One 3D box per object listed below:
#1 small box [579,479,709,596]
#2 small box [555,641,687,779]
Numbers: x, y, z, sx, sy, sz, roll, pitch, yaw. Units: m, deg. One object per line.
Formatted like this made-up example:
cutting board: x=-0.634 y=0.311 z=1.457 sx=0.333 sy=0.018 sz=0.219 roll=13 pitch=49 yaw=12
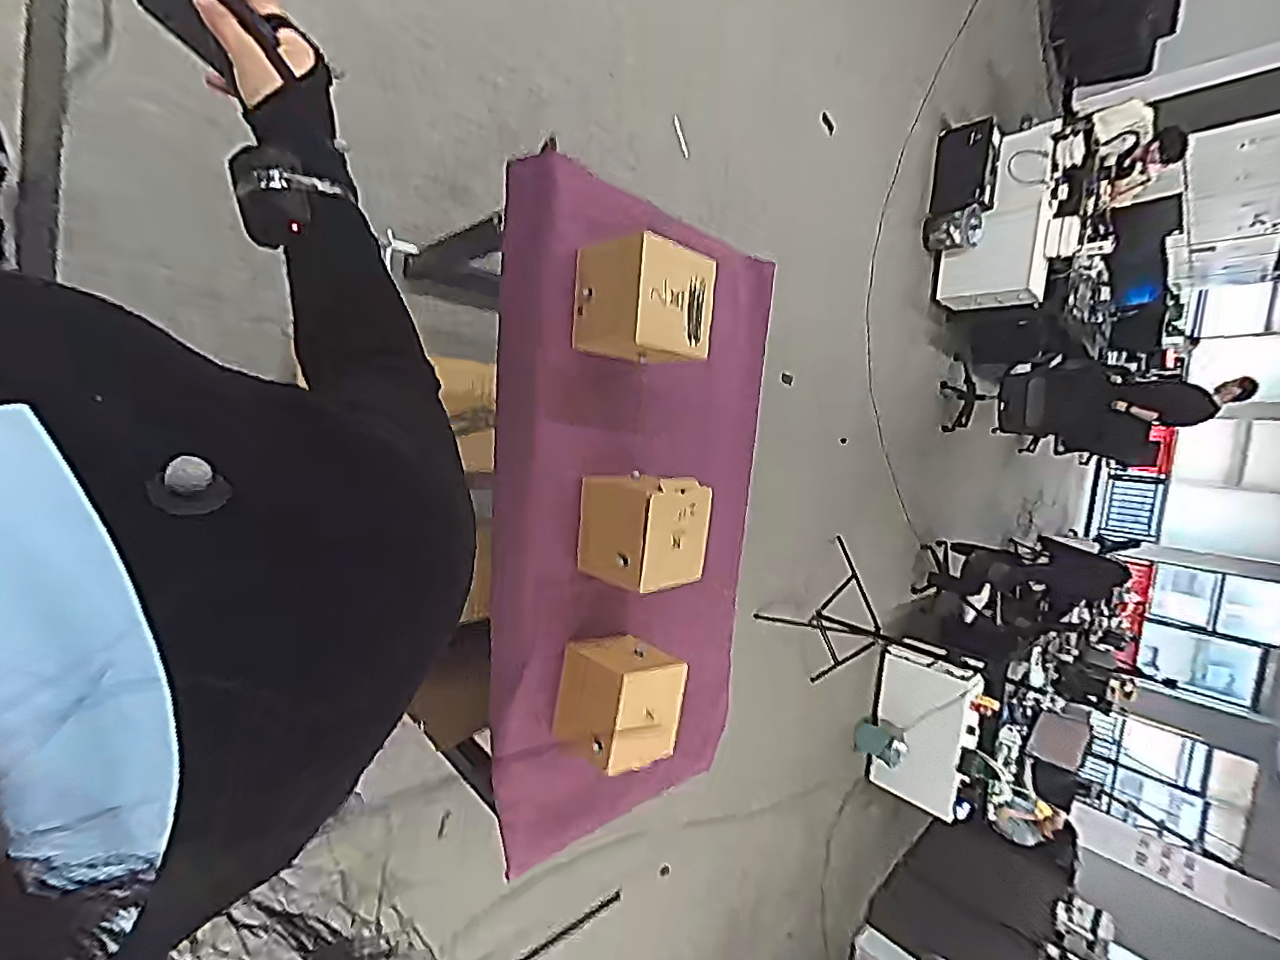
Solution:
small box: x=0.003 y=0.095 z=0.991 sx=0.168 sy=0.176 sz=0.179 roll=-2 pitch=98 yaw=-46
small box: x=-0.039 y=0.410 z=1.006 sx=0.168 sy=0.176 sz=0.179 roll=9 pitch=91 yaw=-44
